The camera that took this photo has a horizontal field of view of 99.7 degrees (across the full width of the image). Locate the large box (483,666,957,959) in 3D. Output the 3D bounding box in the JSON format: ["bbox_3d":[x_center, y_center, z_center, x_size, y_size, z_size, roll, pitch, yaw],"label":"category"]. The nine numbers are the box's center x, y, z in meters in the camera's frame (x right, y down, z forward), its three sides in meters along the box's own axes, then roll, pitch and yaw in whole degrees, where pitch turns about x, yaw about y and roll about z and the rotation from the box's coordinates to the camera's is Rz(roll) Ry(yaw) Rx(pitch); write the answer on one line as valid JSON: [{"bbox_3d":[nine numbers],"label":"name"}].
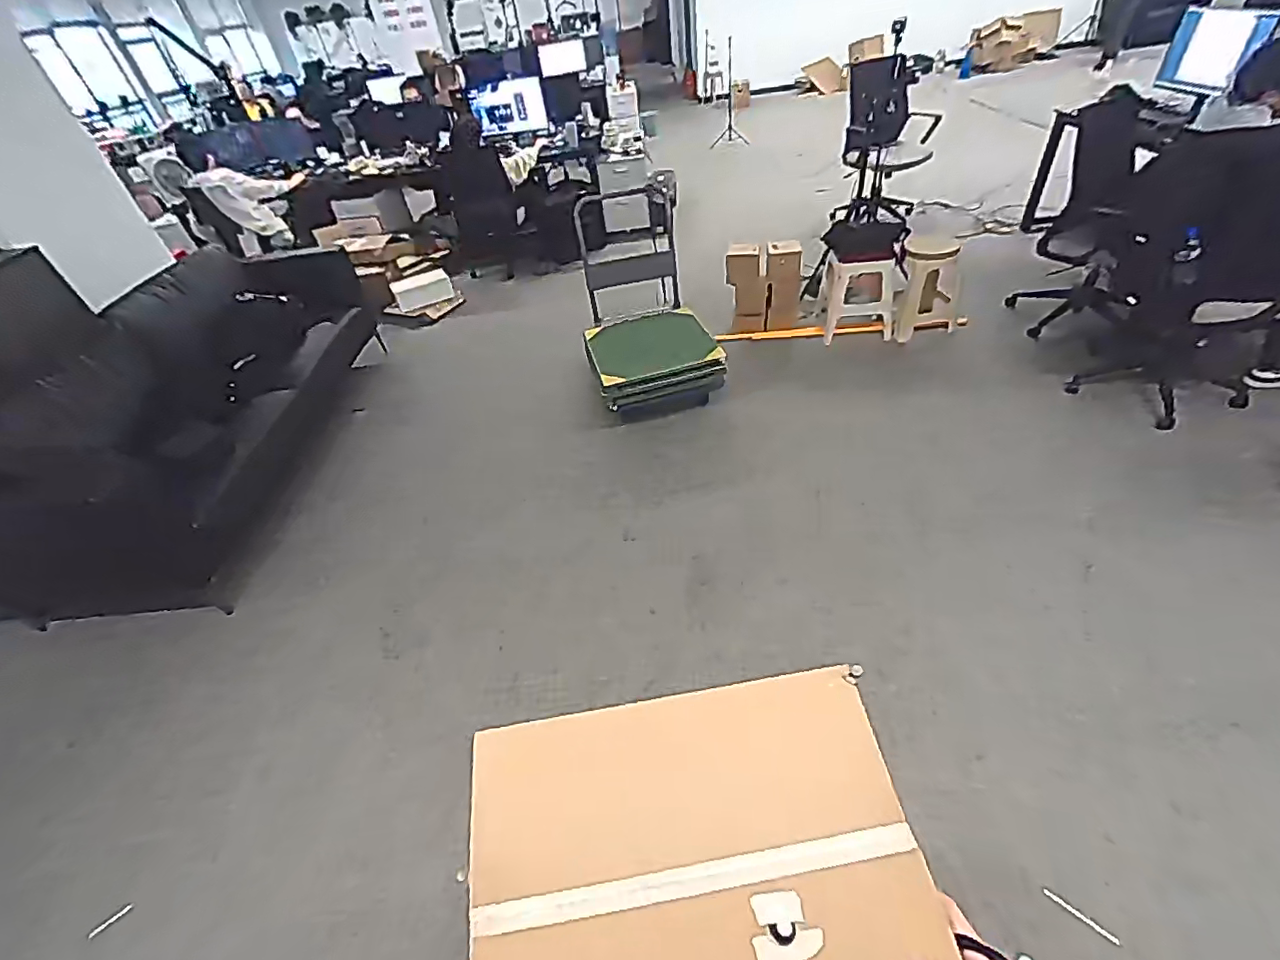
[{"bbox_3d":[0.062,0.447,0.616,0.408,0.320,0.320,-10,55,-3],"label":"large box"}]
